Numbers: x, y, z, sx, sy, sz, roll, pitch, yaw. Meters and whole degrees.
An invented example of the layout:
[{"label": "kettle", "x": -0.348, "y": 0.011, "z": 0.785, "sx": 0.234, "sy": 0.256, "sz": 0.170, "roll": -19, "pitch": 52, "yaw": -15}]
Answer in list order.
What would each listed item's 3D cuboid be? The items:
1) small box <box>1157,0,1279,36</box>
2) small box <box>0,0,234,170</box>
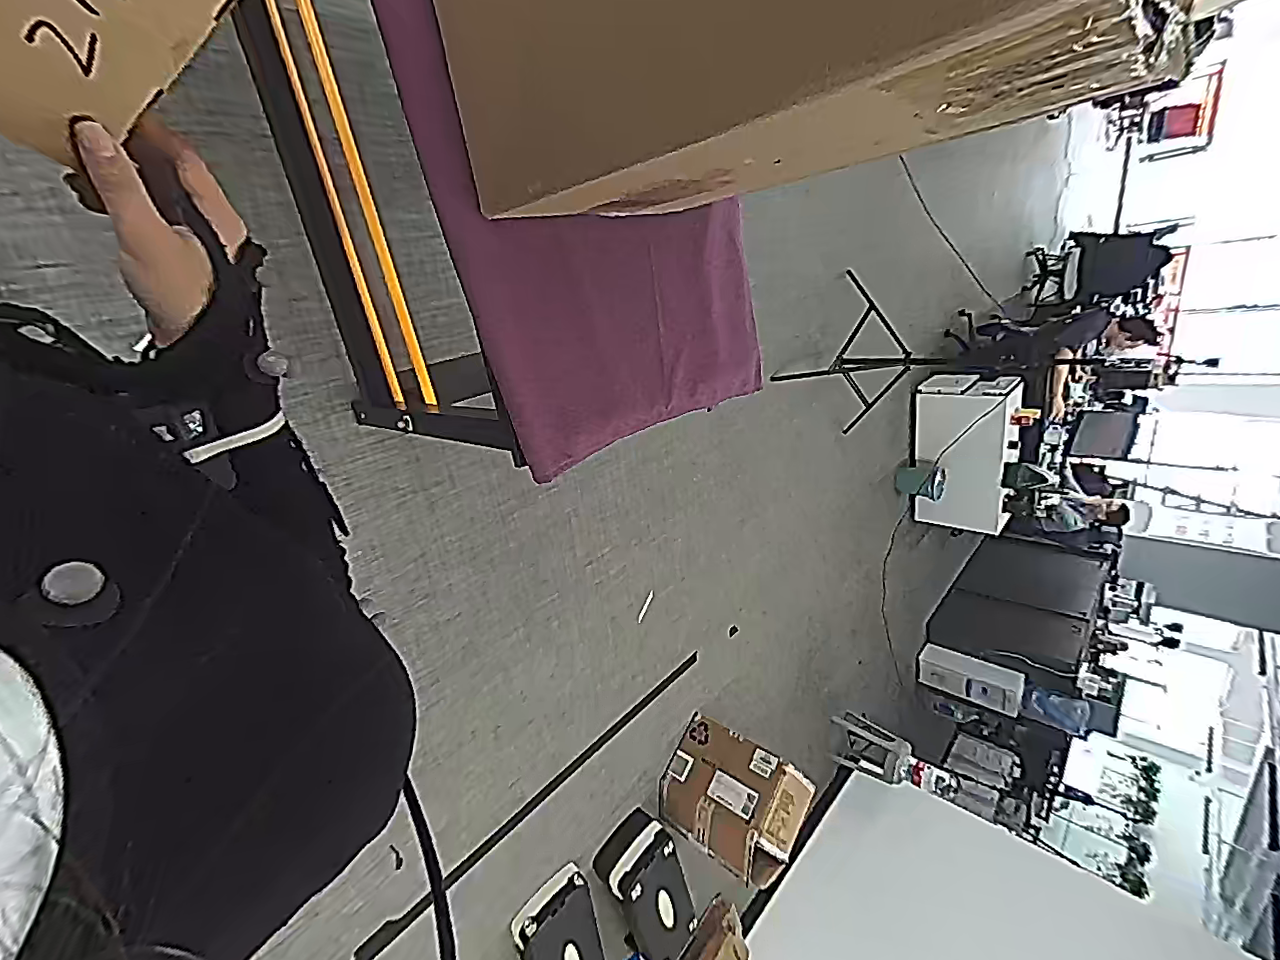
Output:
[{"label": "small box", "x": 0.479, "y": -0.446, "z": 0.371, "sx": 0.168, "sy": 0.176, "sz": 0.179, "roll": -33, "pitch": 119, "yaw": -38}, {"label": "small box", "x": -0.300, "y": -0.280, "z": 0.208, "sx": 0.168, "sy": 0.176, "sz": 0.179, "roll": -43, "pitch": 167, "yaw": 6}]
